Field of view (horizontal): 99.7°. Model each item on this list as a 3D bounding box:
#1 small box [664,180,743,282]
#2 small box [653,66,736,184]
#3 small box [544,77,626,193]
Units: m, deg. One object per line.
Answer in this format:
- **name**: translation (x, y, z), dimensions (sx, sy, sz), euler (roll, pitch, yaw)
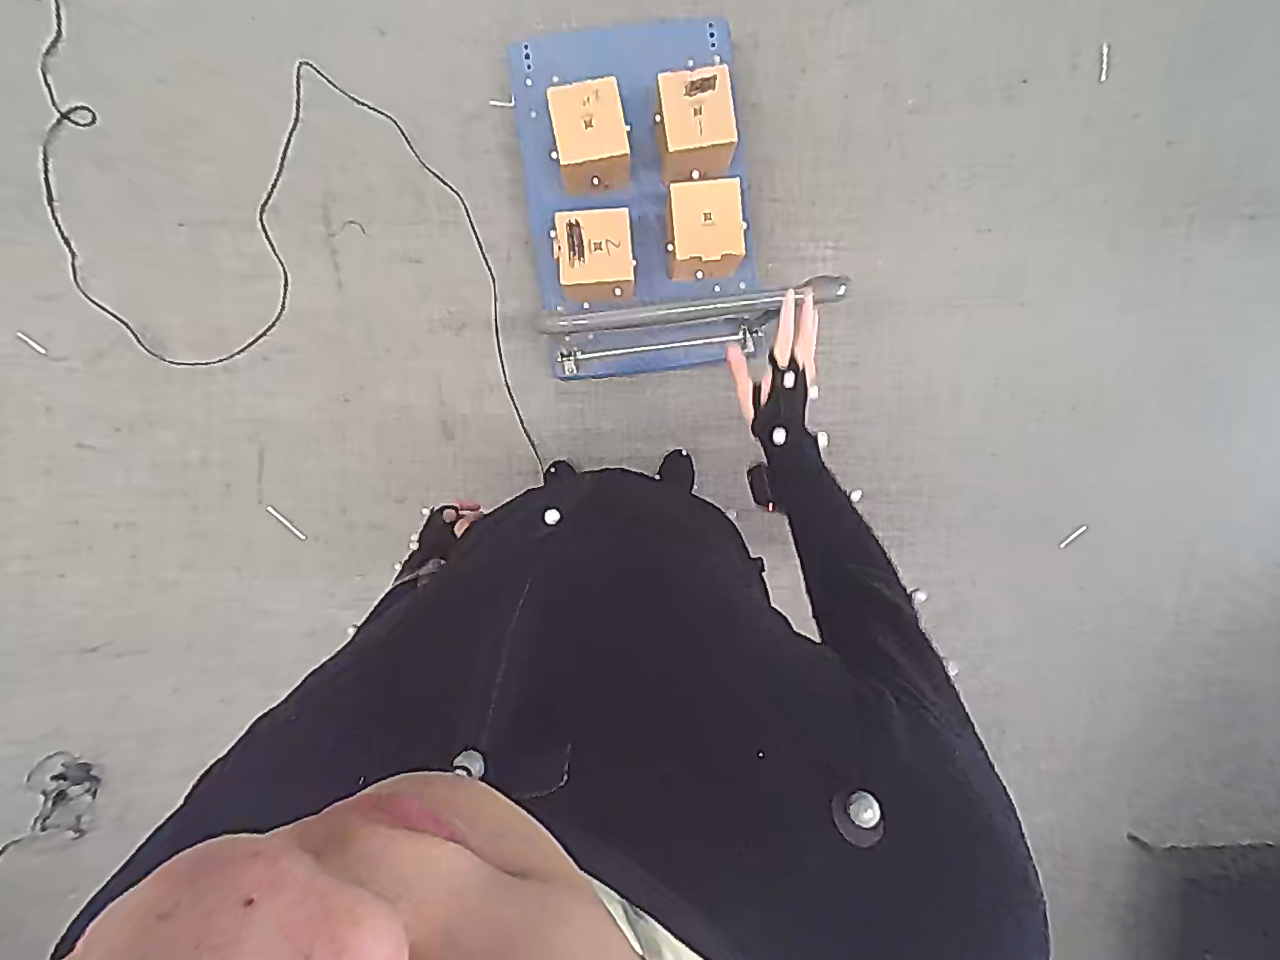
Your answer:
- **small box**: translation (0.151, -0.611, 1.342), dimensions (0.168, 0.176, 0.179), euler (-6, 93, -1)
- **small box**: translation (0.127, -0.858, 1.321), dimensions (0.168, 0.176, 0.179), euler (-9, 95, 0)
- **small box**: translation (-0.126, -0.825, 1.315), dimensions (0.168, 0.176, 0.179), euler (-11, 94, -2)
